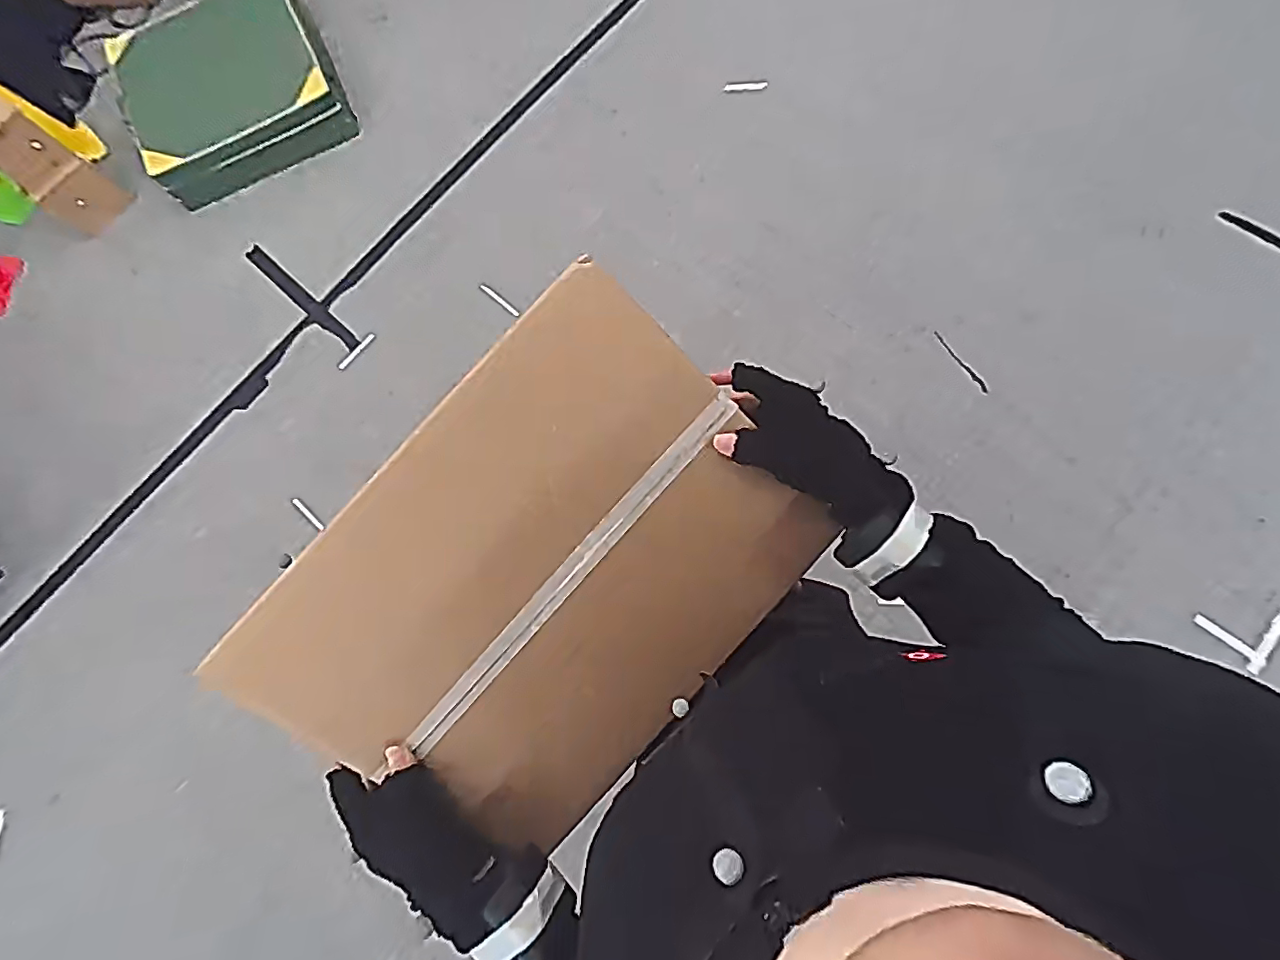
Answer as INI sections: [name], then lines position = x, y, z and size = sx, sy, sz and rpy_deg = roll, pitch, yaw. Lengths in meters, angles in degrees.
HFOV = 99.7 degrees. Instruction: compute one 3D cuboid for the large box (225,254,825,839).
[large box]
position = -0.103, 0.051, 0.582
size = 0.320, 0.320, 0.408
rpy_deg = 43, 89, -17
